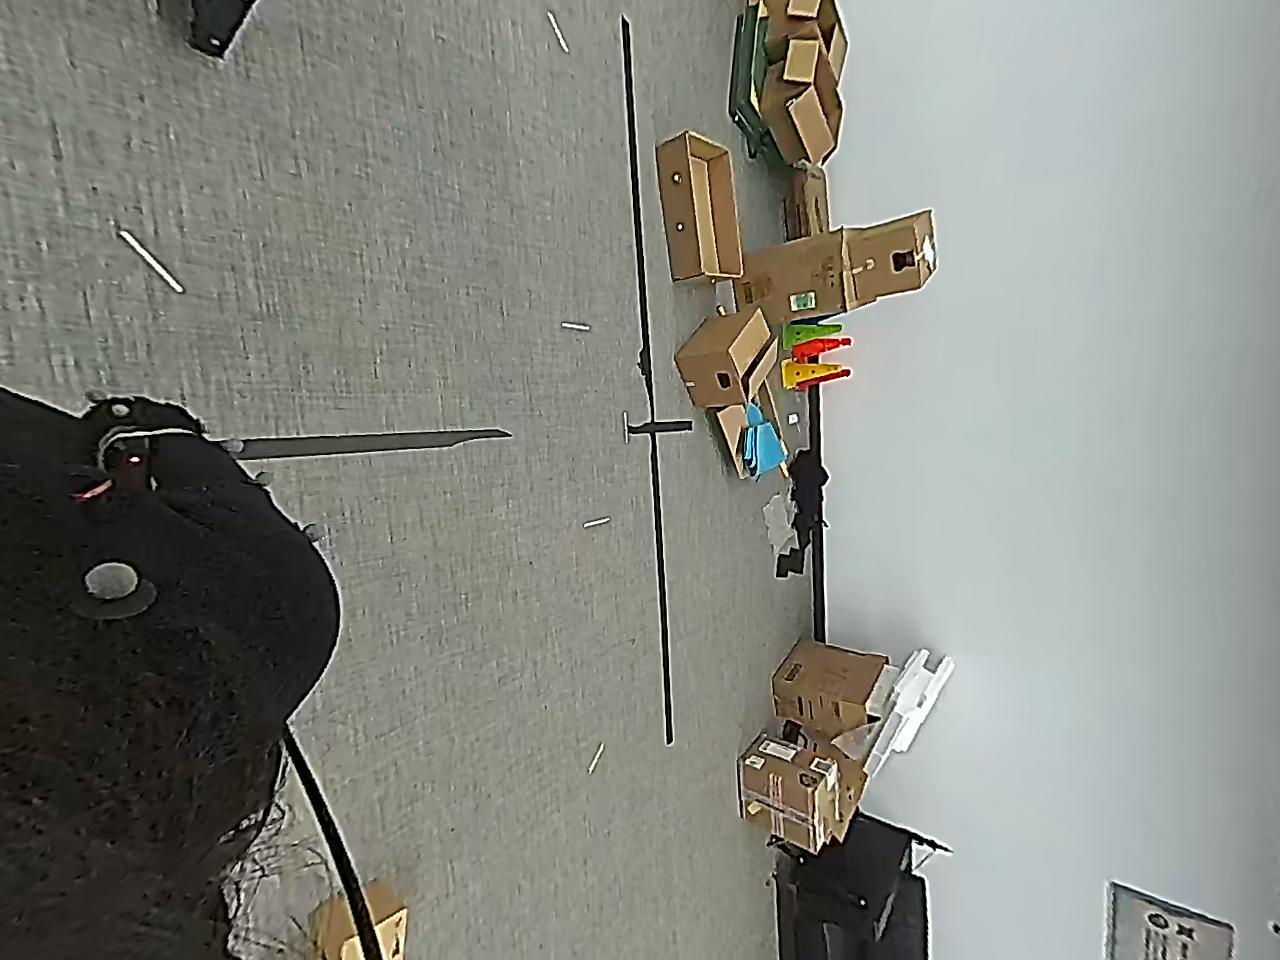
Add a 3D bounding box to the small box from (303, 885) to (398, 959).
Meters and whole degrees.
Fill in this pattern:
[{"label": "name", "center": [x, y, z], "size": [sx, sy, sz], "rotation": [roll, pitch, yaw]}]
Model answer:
[{"label": "small box", "center": [-0.780, 1.243, 1.448], "size": [0.179, 0.176, 0.168], "rotation": [9, 84, -51]}]
